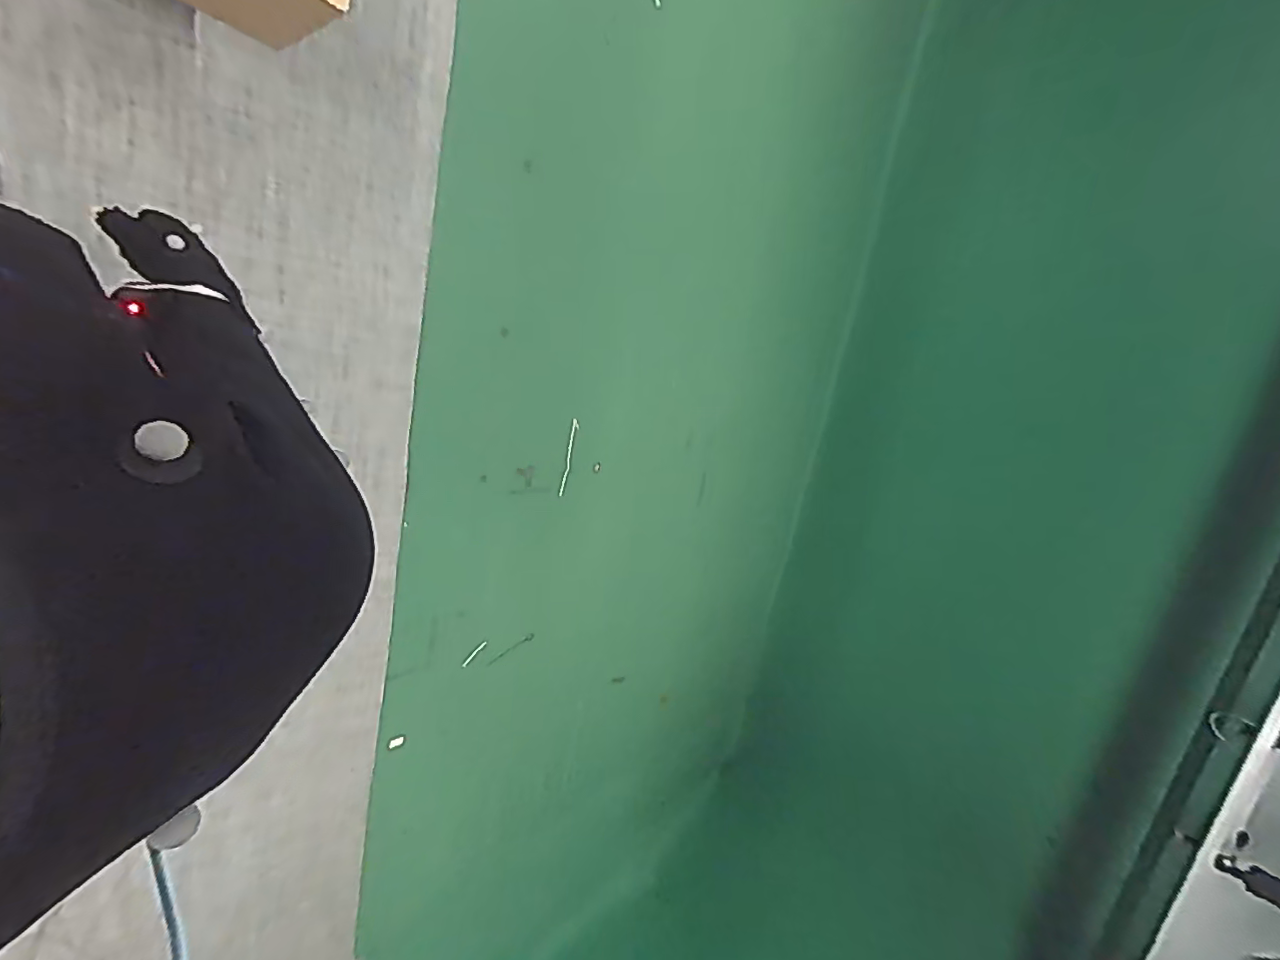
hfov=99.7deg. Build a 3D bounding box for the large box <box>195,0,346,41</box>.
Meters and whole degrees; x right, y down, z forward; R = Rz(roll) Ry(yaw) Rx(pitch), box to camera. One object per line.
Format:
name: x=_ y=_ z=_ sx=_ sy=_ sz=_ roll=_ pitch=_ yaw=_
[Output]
large box: x=-0.666 y=-0.918 z=0.754 sx=0.408 sy=0.320 sz=0.320 roll=-1 pitch=107 yaw=-51
